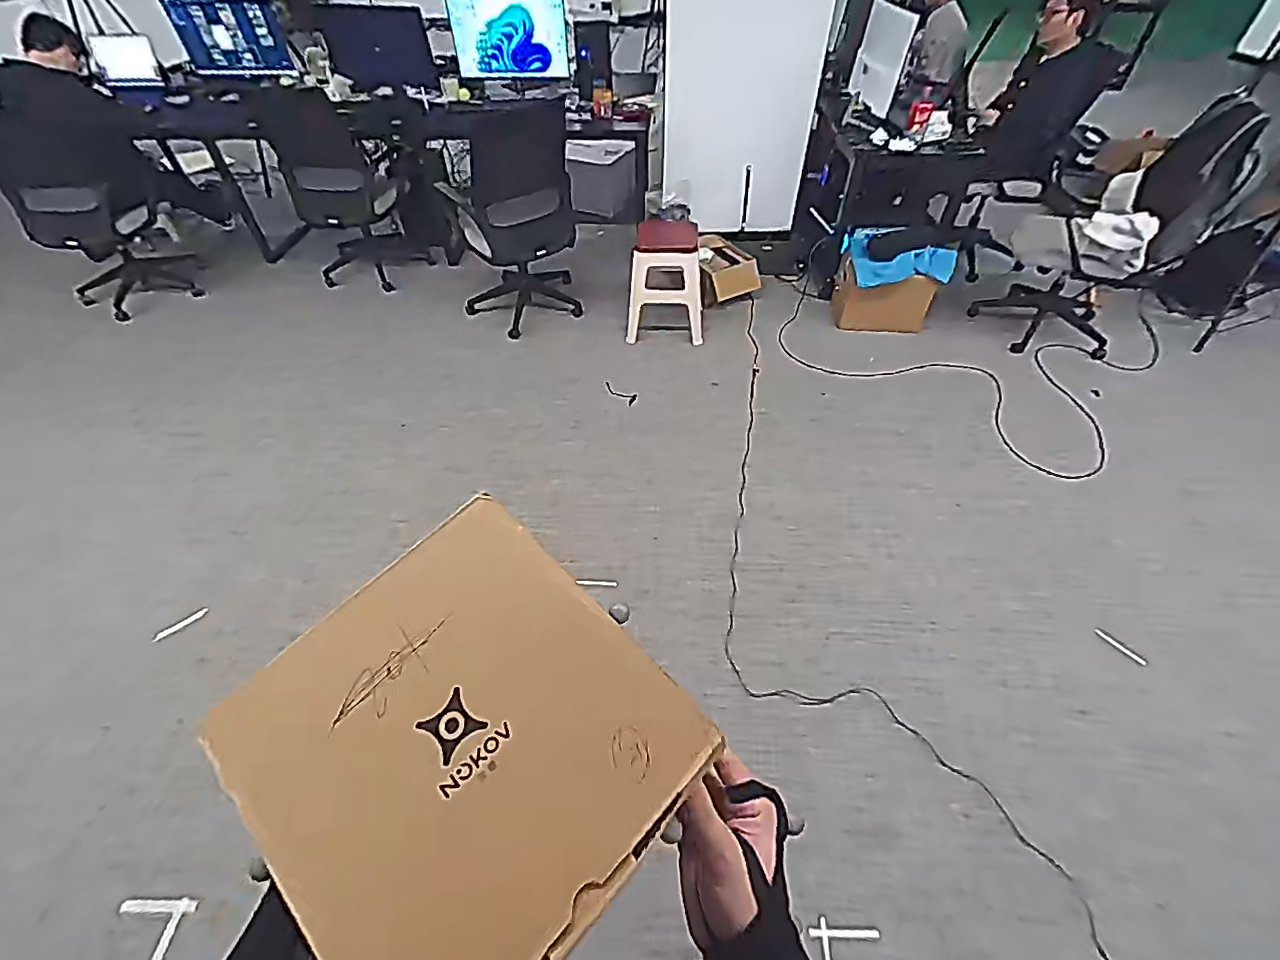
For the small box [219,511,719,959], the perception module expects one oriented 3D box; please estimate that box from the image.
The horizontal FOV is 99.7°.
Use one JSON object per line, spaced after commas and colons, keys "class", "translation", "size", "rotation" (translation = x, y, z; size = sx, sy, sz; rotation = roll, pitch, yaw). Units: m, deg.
{"class": "small box", "translation": [-0.077, 0.156, 0.318], "size": [0.179, 0.176, 0.168], "rotation": [39, 68, 21]}
